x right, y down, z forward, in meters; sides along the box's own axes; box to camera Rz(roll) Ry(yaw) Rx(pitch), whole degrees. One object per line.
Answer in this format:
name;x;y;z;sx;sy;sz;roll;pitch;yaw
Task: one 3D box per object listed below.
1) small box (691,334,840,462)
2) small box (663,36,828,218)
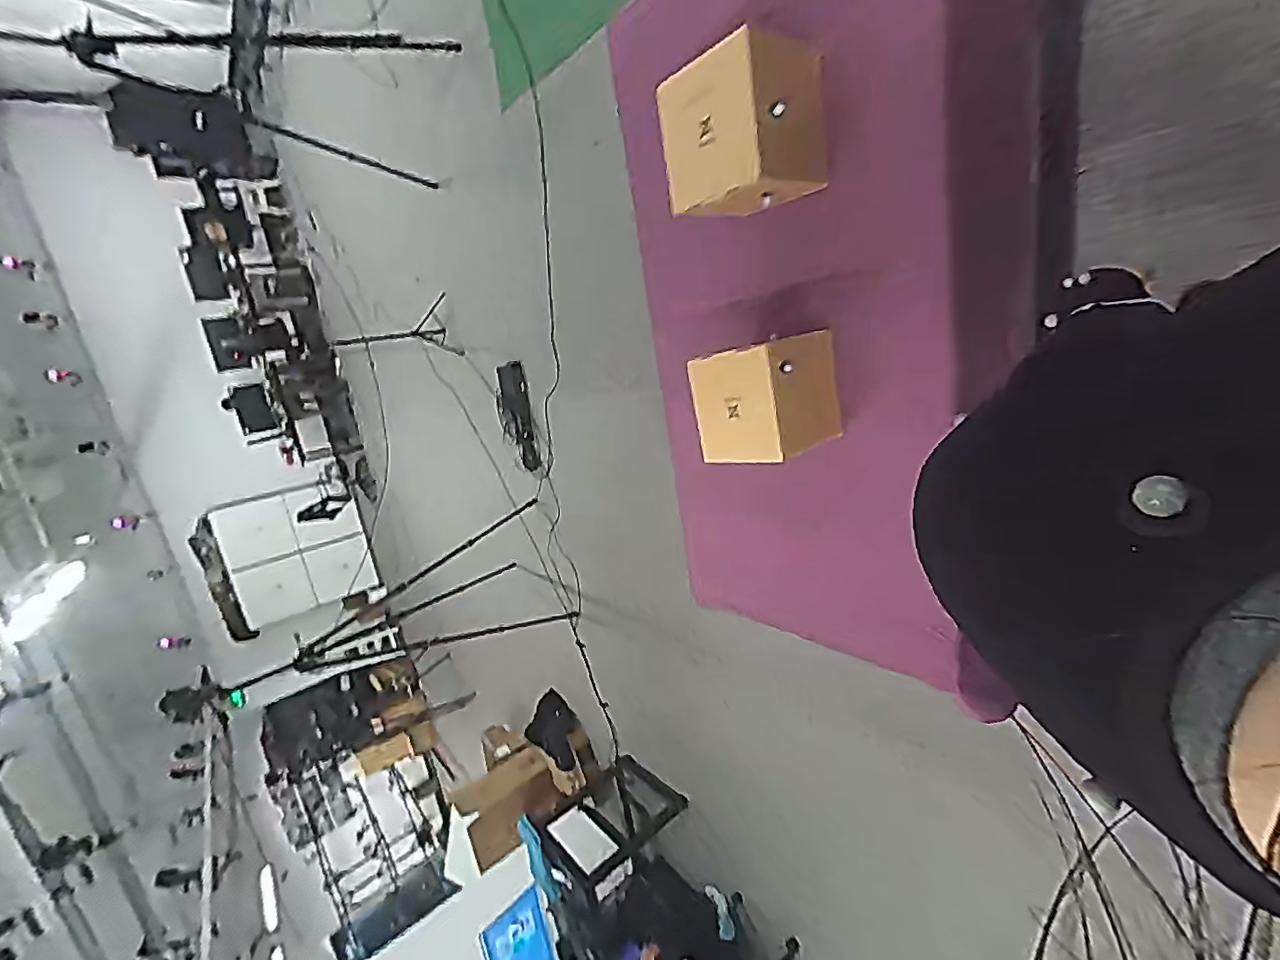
small box;0.213;-0.134;0.899;0.168;0.176;0.179;2;107;52
small box;0.159;-0.500;0.796;0.168;0.176;0.179;9;112;50
